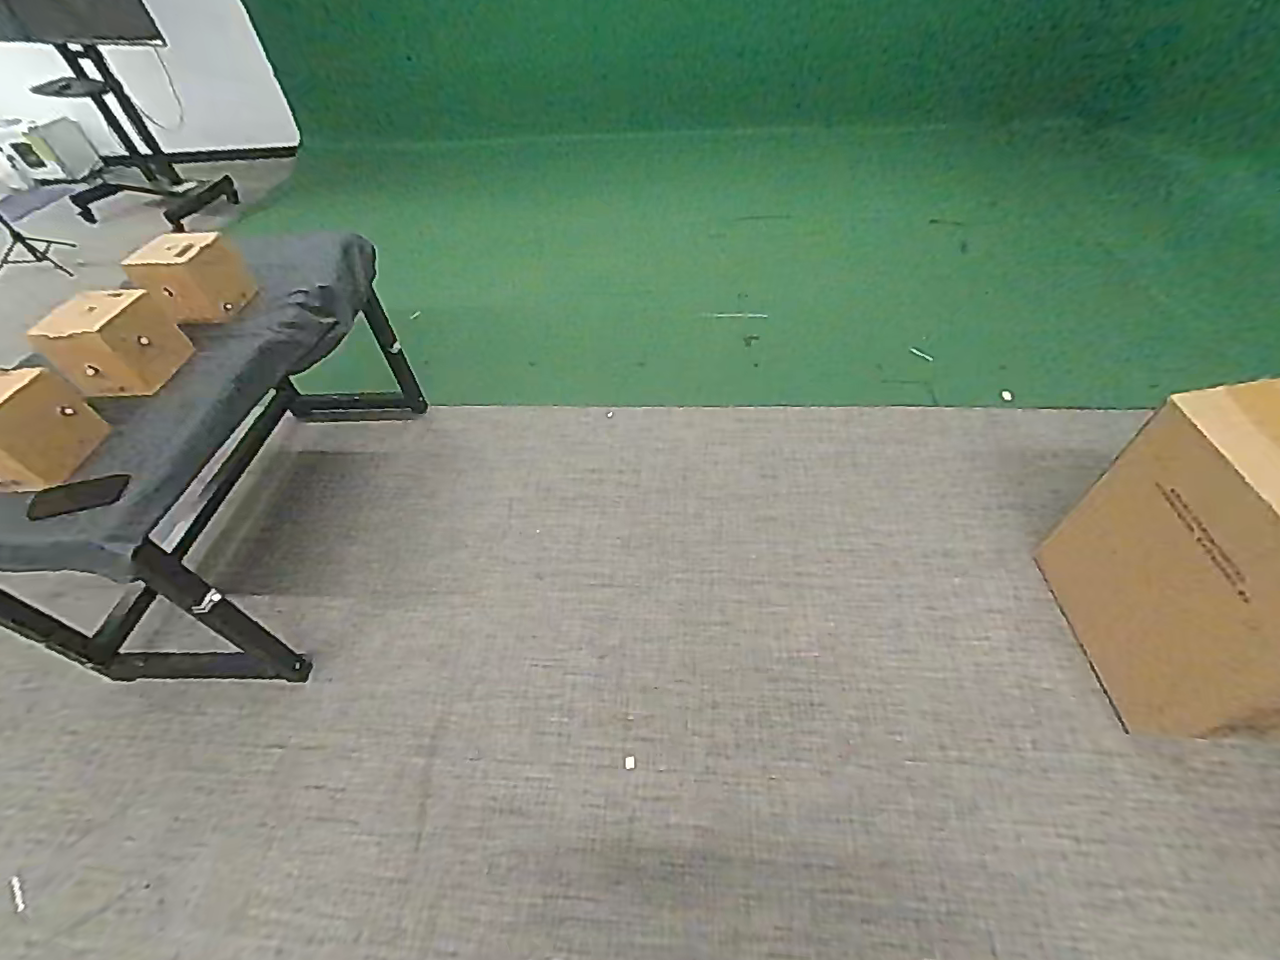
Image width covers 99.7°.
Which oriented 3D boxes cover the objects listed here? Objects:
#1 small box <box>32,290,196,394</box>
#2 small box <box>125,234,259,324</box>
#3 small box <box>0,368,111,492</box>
[{"bbox_3d":[-1.177,-0.309,1.231,0.168,0.176,0.179,0,49,4],"label":"small box"},{"bbox_3d":[-1.159,-0.525,1.418,0.179,0.176,0.168,1,49,6],"label":"small box"},{"bbox_3d":[-1.200,-0.095,1.046,0.168,0.176,0.179,-3,50,3],"label":"small box"}]
